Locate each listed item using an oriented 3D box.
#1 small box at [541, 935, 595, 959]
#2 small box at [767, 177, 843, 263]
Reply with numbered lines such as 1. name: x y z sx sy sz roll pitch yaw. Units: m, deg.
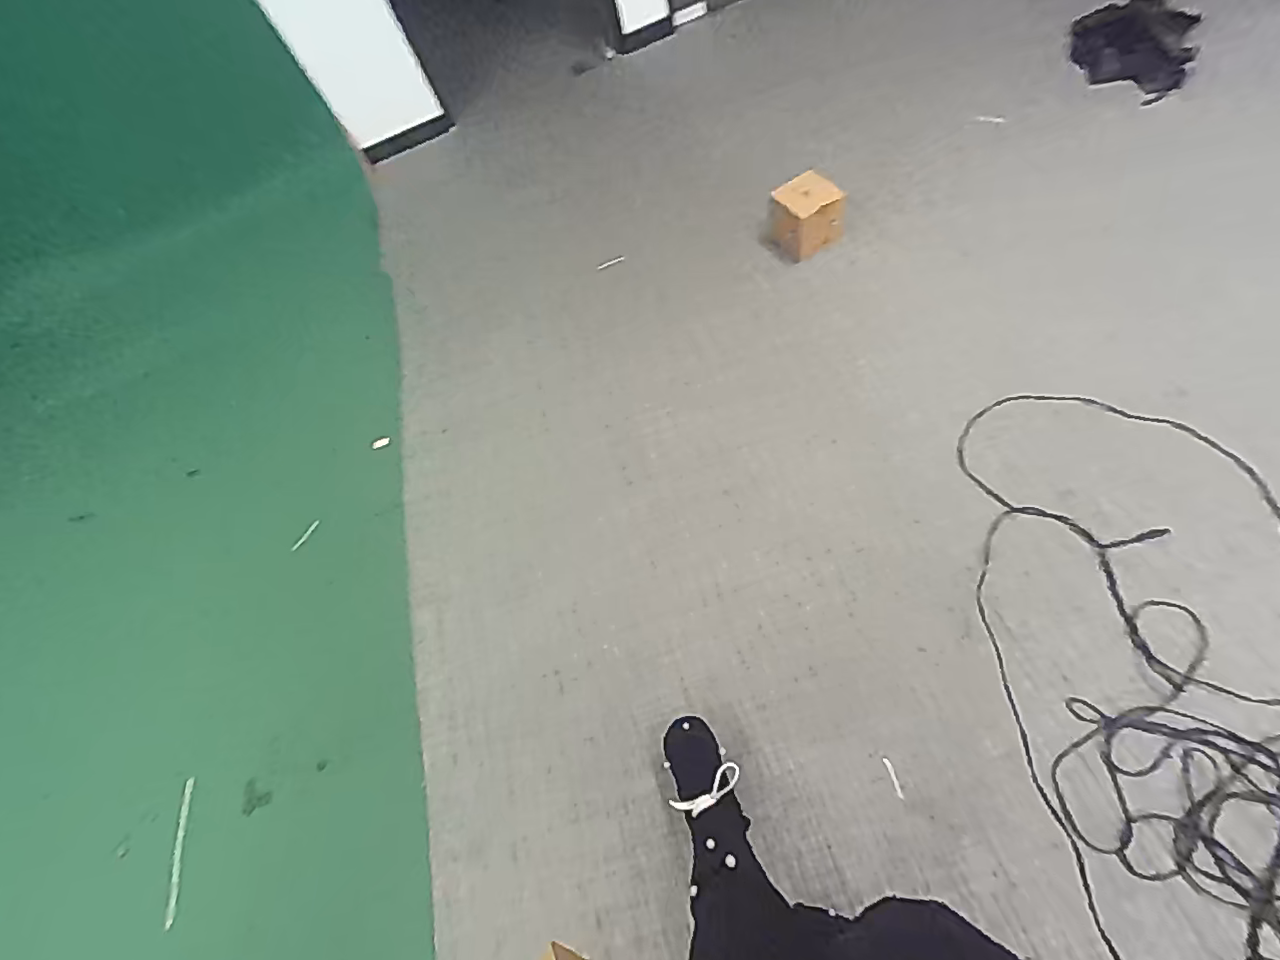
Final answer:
1. small box: -0.057 0.644 0.566 0.176 0.179 0.168 33 65 -2
2. small box: 0.535 -0.842 1.769 0.168 0.176 0.179 -31 58 -5
